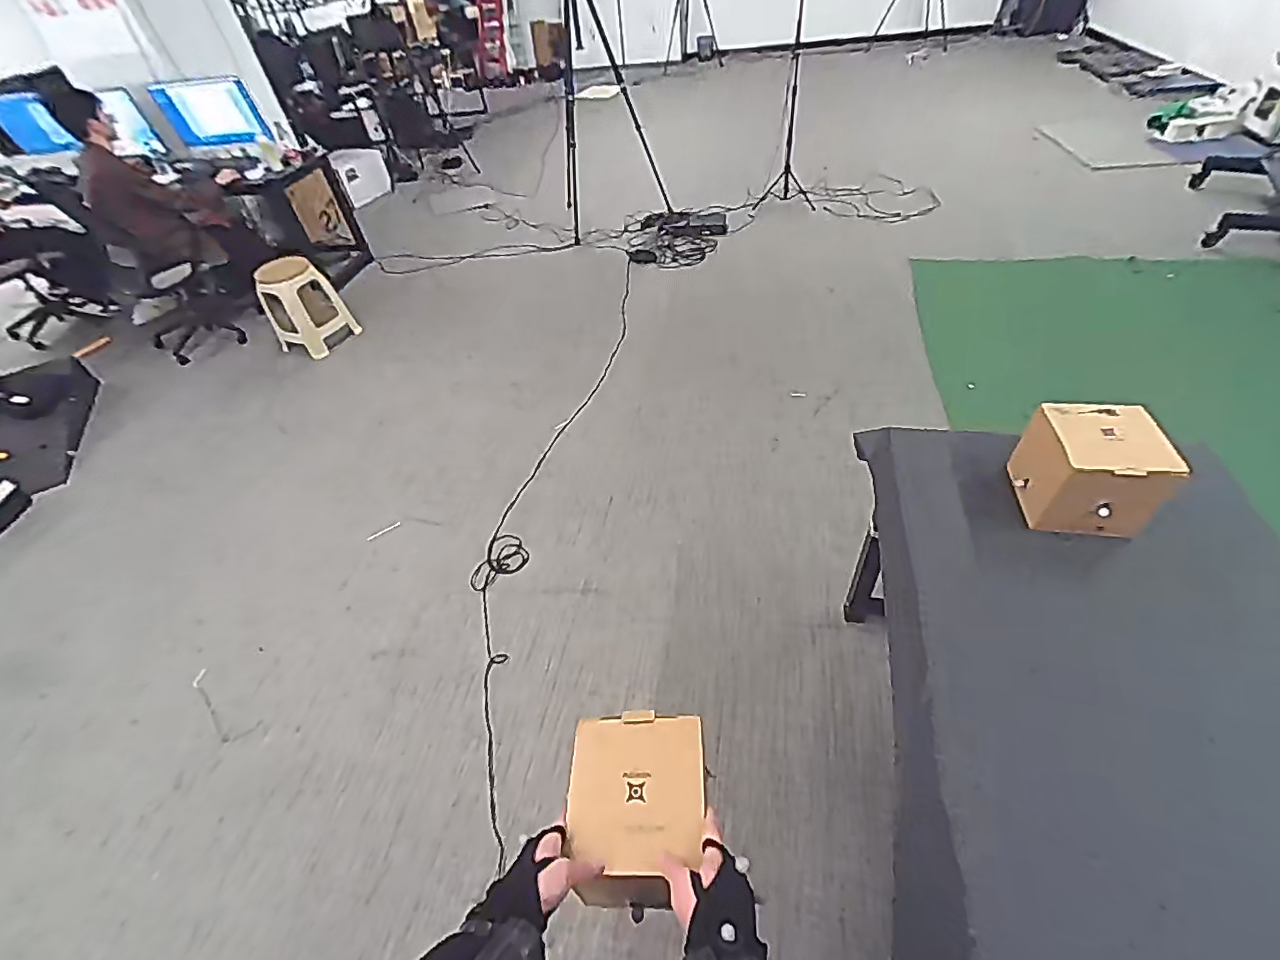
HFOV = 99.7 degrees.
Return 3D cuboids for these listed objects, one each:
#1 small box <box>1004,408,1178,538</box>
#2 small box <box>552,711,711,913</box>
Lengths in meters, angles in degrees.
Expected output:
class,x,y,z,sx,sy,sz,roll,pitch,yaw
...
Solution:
class,x,y,z,sx,sy,sz,roll,pitch,yaw
small box,0.803,-0.011,0.988,0.168,0.176,0.179,4,48,11
small box,0.002,0.418,0.687,0.168,0.176,0.179,-4,41,9
